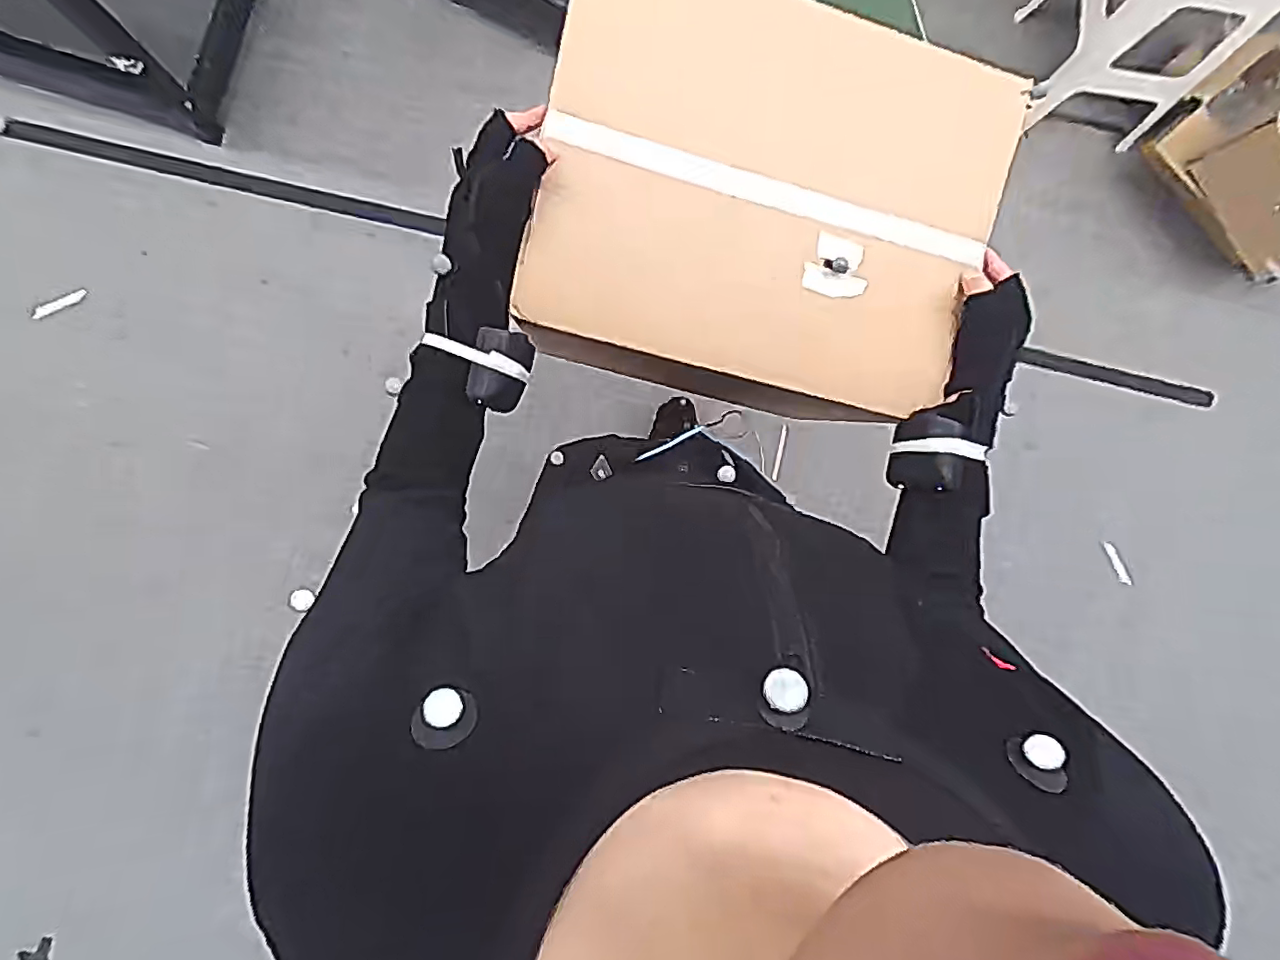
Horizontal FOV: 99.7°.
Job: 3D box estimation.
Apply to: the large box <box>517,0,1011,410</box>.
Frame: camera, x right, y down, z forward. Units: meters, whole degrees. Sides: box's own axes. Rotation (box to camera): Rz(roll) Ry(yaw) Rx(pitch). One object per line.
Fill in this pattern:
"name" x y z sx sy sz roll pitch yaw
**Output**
"large box" 0.095 -0.272 0.623 0.408 0.320 0.320 12 97 -9
